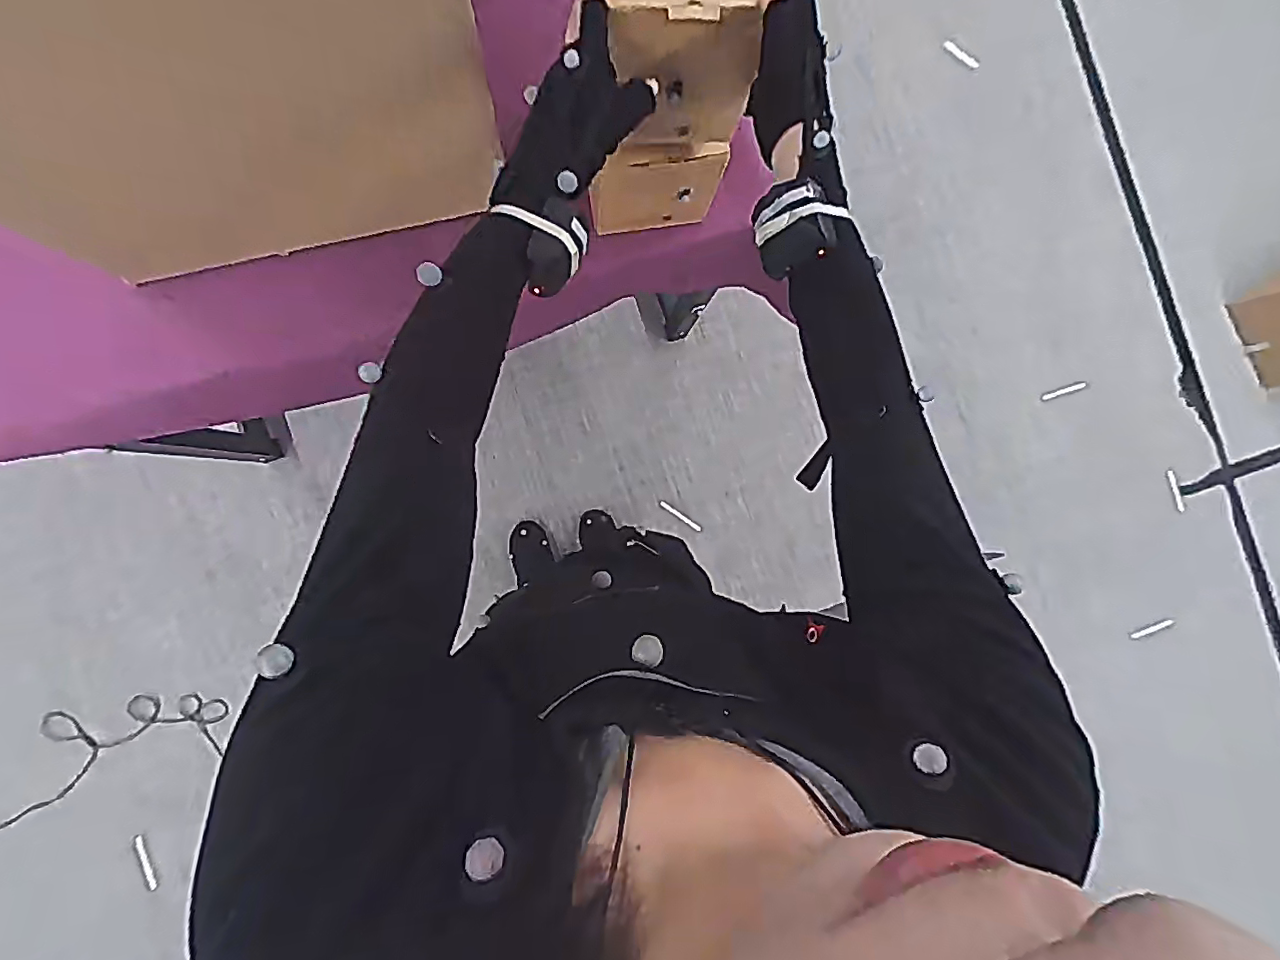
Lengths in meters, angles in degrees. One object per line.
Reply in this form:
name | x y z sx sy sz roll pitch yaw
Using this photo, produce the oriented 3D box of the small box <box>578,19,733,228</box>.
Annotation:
small box | 0.013 -0.462 0.730 0.168 0.176 0.179 -10 88 -7
